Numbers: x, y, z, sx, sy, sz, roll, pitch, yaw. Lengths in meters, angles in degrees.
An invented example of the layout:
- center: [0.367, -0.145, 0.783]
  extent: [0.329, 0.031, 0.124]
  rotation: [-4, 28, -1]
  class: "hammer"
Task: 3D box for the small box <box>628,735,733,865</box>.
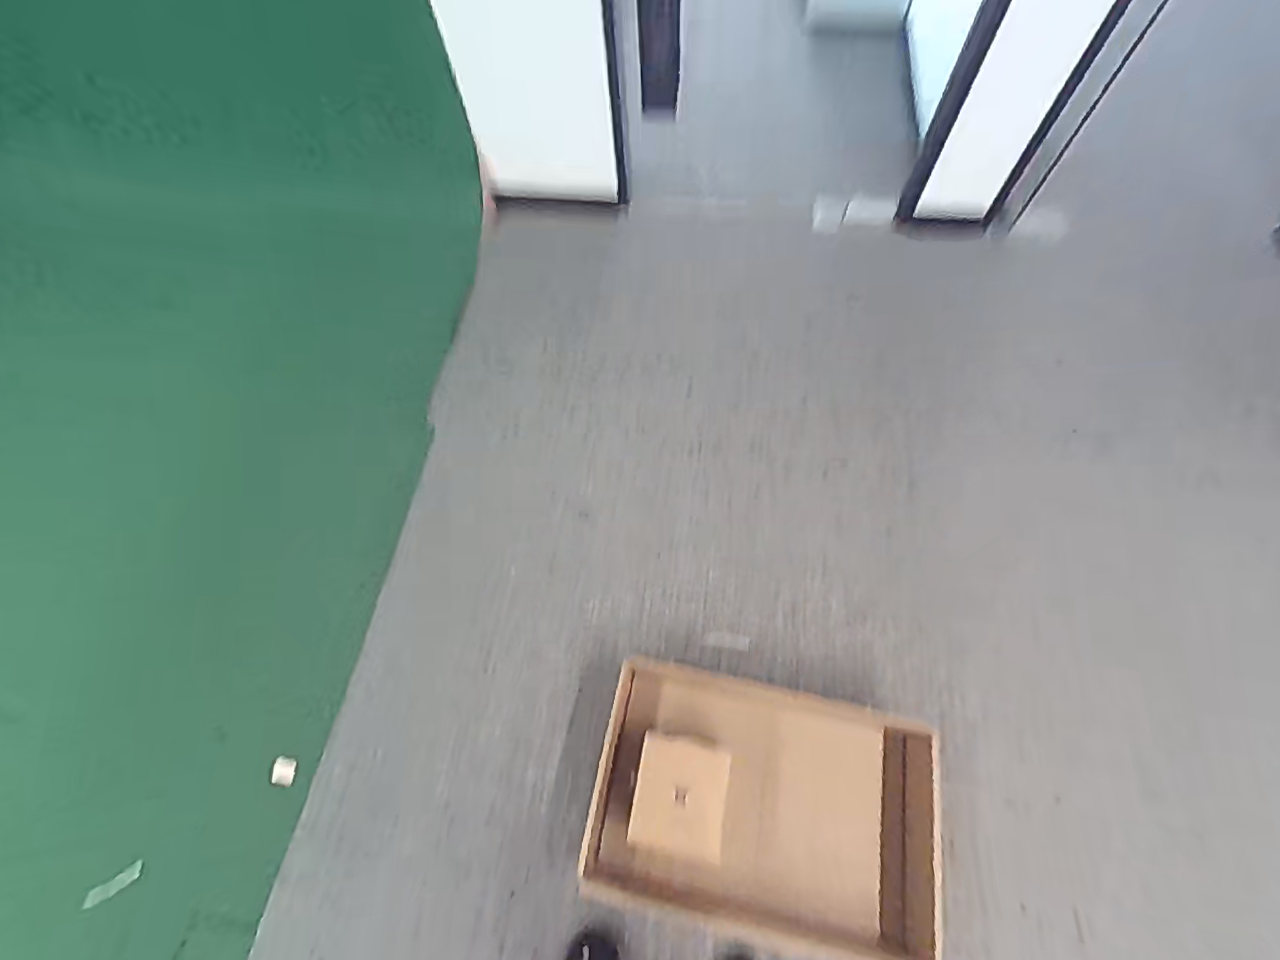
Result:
- center: [0.078, 0.602, 1.038]
  extent: [0.168, 0.176, 0.179]
  rotation: [9, 65, 8]
  class: "small box"
